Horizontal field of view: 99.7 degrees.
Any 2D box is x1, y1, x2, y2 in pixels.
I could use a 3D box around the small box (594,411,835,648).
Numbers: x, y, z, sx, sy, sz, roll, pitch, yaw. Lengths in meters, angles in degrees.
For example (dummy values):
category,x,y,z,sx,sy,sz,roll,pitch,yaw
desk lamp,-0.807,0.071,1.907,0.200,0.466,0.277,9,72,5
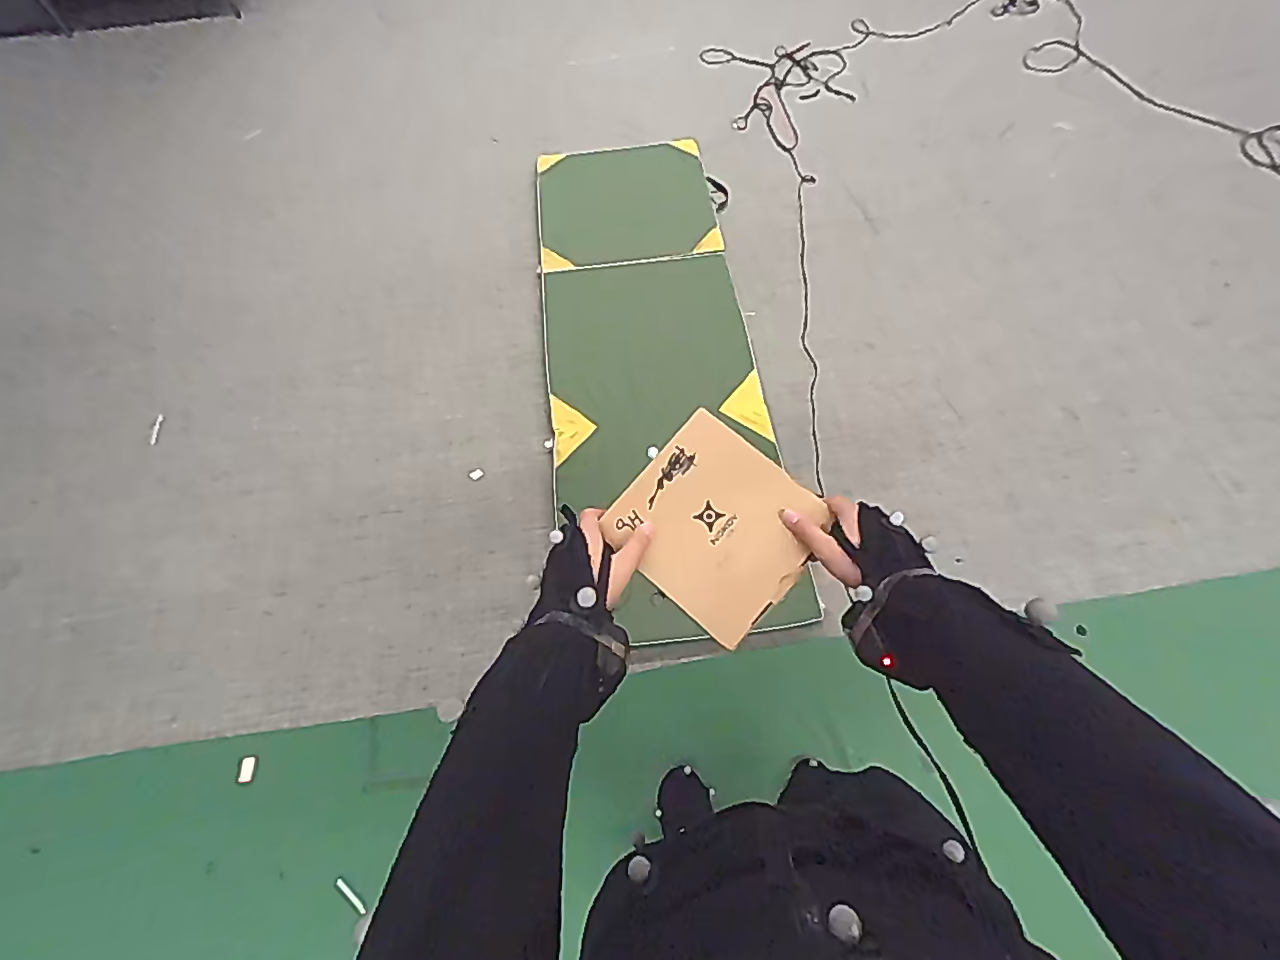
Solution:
category,x,y,z,sx,sy,sz,roll,pitch,yaw
small box,0.076,0.058,0.599,0.179,0.176,0.168,41,82,12
